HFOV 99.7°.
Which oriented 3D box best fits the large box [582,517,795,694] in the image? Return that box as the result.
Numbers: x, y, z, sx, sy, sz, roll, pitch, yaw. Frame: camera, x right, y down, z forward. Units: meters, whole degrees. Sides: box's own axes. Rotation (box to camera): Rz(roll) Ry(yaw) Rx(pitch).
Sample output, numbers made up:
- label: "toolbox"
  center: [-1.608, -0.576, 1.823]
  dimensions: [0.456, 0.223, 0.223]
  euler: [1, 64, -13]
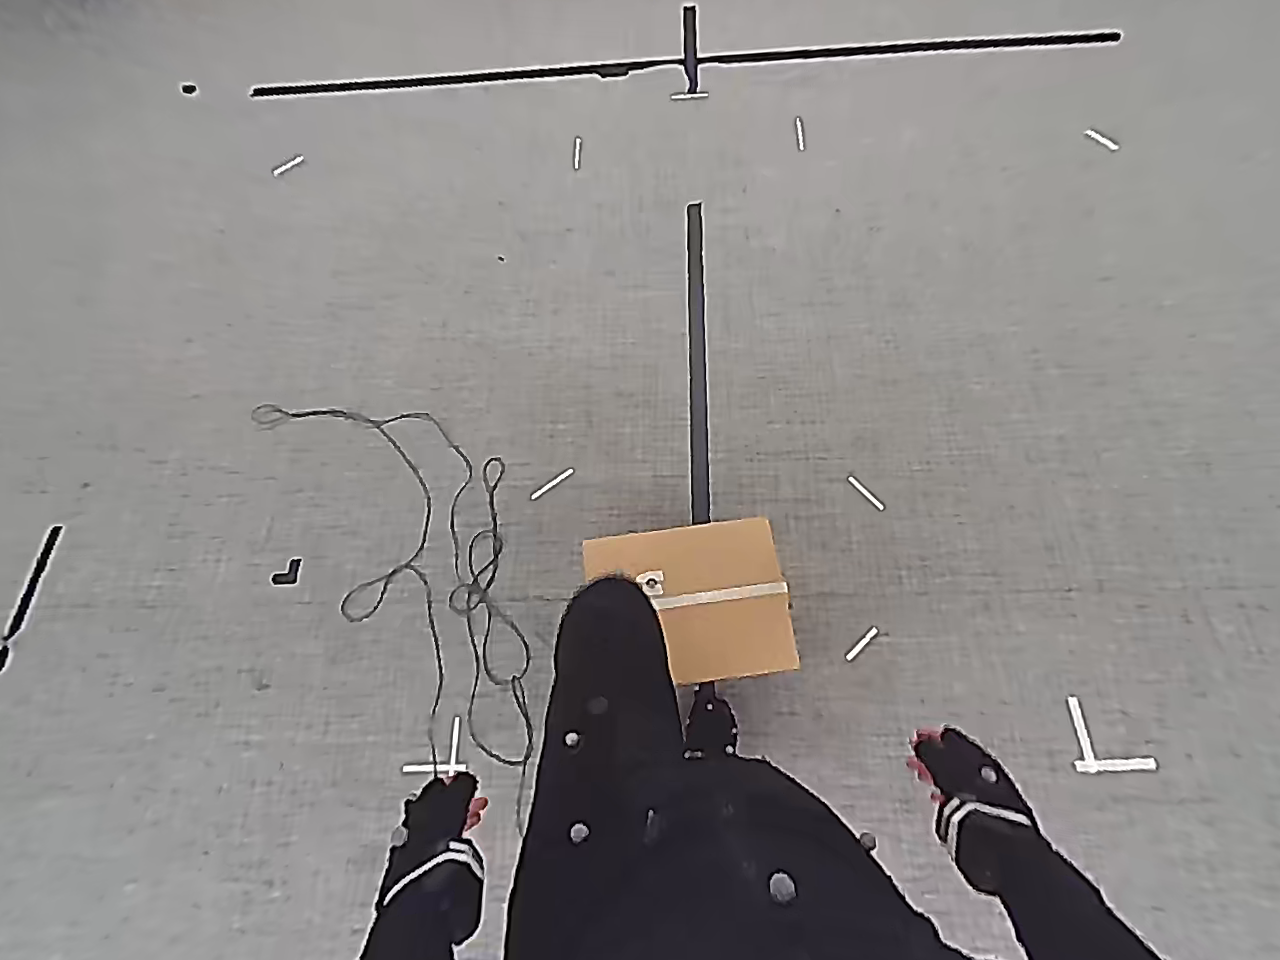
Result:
- label: "large box"
  center: [0.101, 0.298, 1.249]
  dimensions: [0.408, 0.320, 0.320]
  euler: [-8, 70, 1]
